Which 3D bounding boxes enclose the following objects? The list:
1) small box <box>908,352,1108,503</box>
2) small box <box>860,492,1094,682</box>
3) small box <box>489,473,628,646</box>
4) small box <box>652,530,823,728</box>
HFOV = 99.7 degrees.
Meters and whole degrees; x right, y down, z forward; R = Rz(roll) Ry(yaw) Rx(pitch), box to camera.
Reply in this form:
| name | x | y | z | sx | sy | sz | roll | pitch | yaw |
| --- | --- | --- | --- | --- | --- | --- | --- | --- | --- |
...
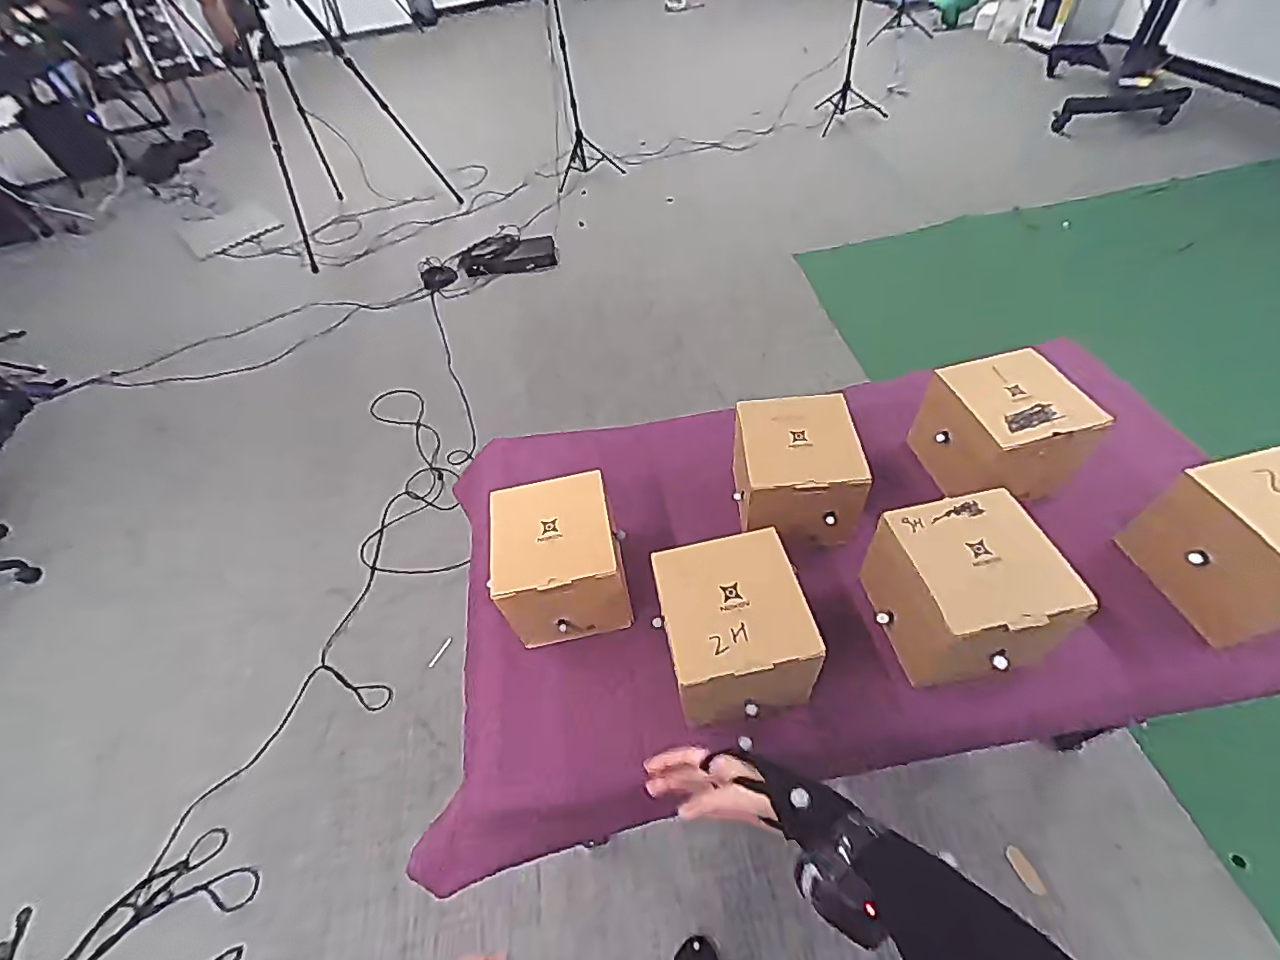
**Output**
| name | x | y | z | sx | sy | sz | roll | pitch | yaw |
| --- | --- | --- | --- | --- | --- | --- | --- | --- | --- |
| small box | 0.558 | -0.068 | 0.851 | 0.168 | 0.176 | 0.179 | -13 | 50 | -3 |
| small box | 0.410 | 0.145 | 0.698 | 0.168 | 0.176 | 0.179 | -11 | 50 | -1 |
| small box | -0.116 | 0.119 | 0.795 | 0.168 | 0.176 | 0.179 | -11 | 51 | -2 |
| small box | 0.115 | 0.194 | 0.699 | 0.168 | 0.176 | 0.179 | -12 | 50 | -1 |
